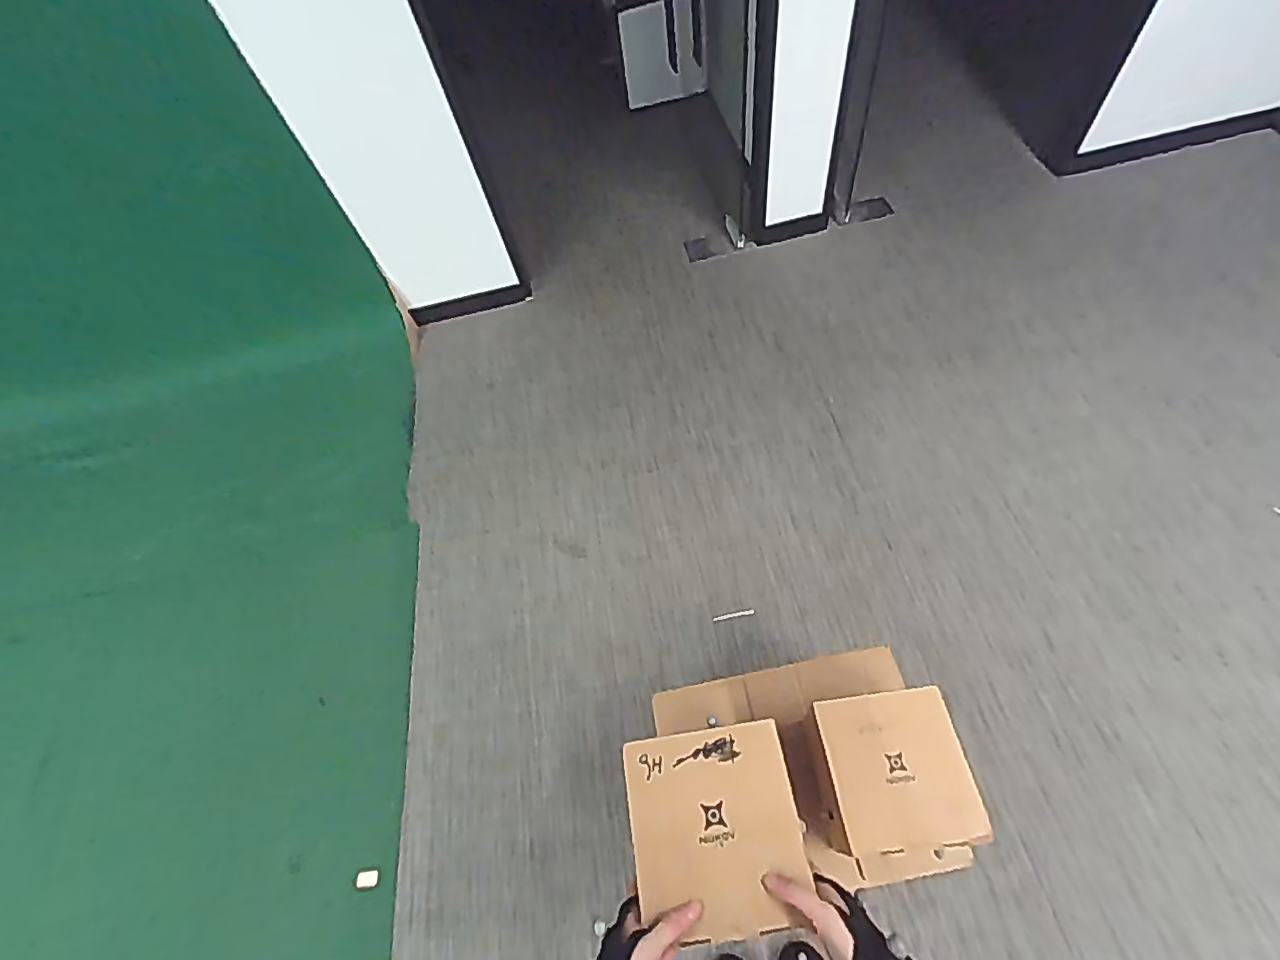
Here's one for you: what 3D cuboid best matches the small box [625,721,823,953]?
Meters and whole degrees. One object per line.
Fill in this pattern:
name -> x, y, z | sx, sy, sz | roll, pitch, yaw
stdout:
small box -> 0.085, 0.377, 0.596 | 0.168, 0.176, 0.179 | -11, 60, 2

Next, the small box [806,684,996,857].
small box -> 0.335, 0.394, 0.735 | 0.168, 0.176, 0.179 | -10, 57, 5
